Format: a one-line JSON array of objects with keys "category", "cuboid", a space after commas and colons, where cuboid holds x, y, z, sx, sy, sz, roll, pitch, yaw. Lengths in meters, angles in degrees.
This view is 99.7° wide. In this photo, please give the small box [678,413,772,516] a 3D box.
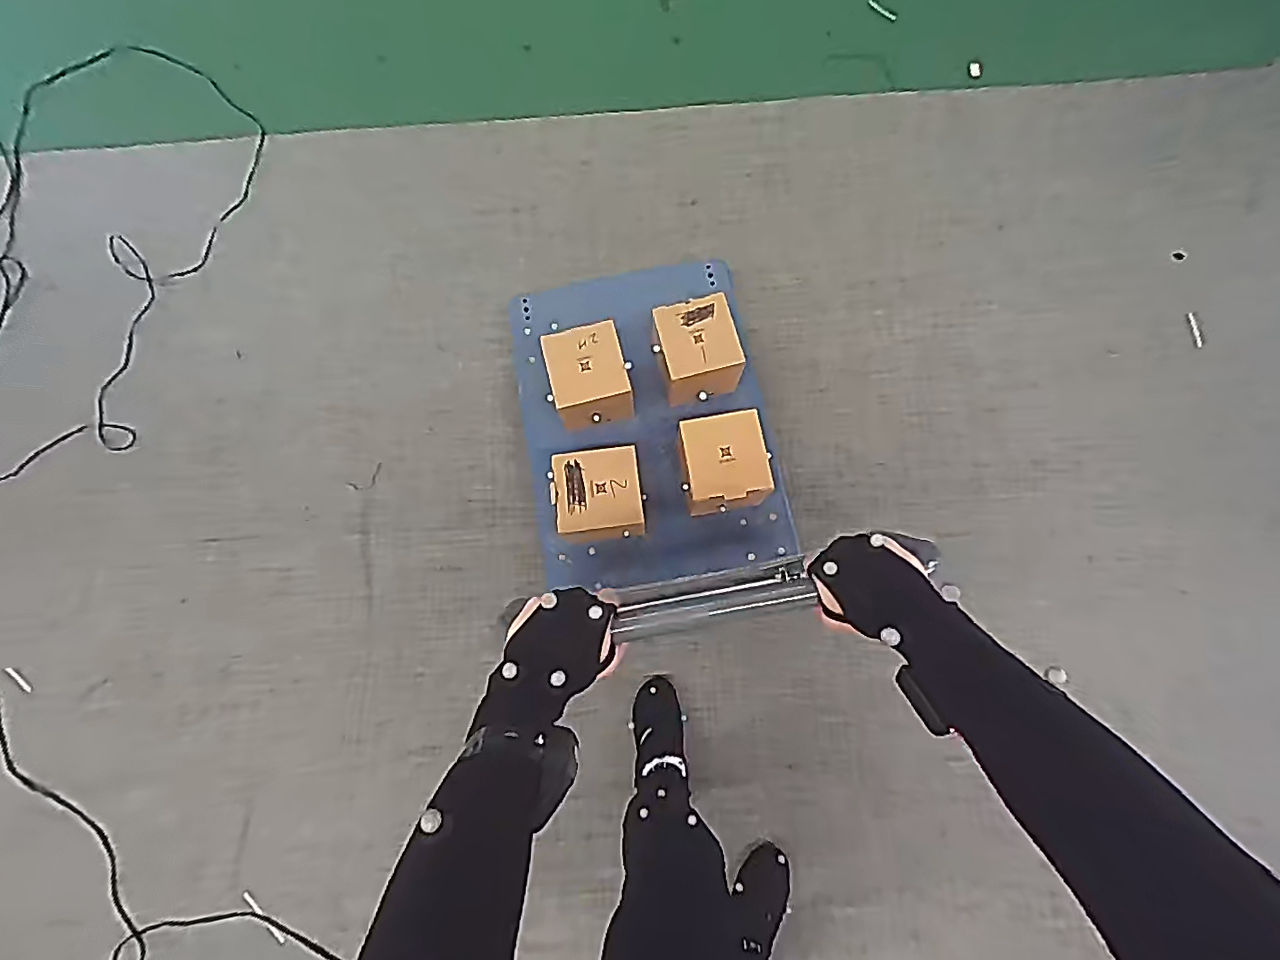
[{"category": "small box", "cuboid": [0.180, -0.028, 1.203, 0.168, 0.176, 0.179, -10, 77, -1]}]

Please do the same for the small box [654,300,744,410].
[{"category": "small box", "cuboid": [0.130, -0.287, 1.266, 0.168, 0.176, 0.179, -14, 77, -1]}]

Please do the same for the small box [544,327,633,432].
[{"category": "small box", "cuboid": [-0.114, -0.223, 1.259, 0.168, 0.176, 0.179, -14, 76, -2]}]
